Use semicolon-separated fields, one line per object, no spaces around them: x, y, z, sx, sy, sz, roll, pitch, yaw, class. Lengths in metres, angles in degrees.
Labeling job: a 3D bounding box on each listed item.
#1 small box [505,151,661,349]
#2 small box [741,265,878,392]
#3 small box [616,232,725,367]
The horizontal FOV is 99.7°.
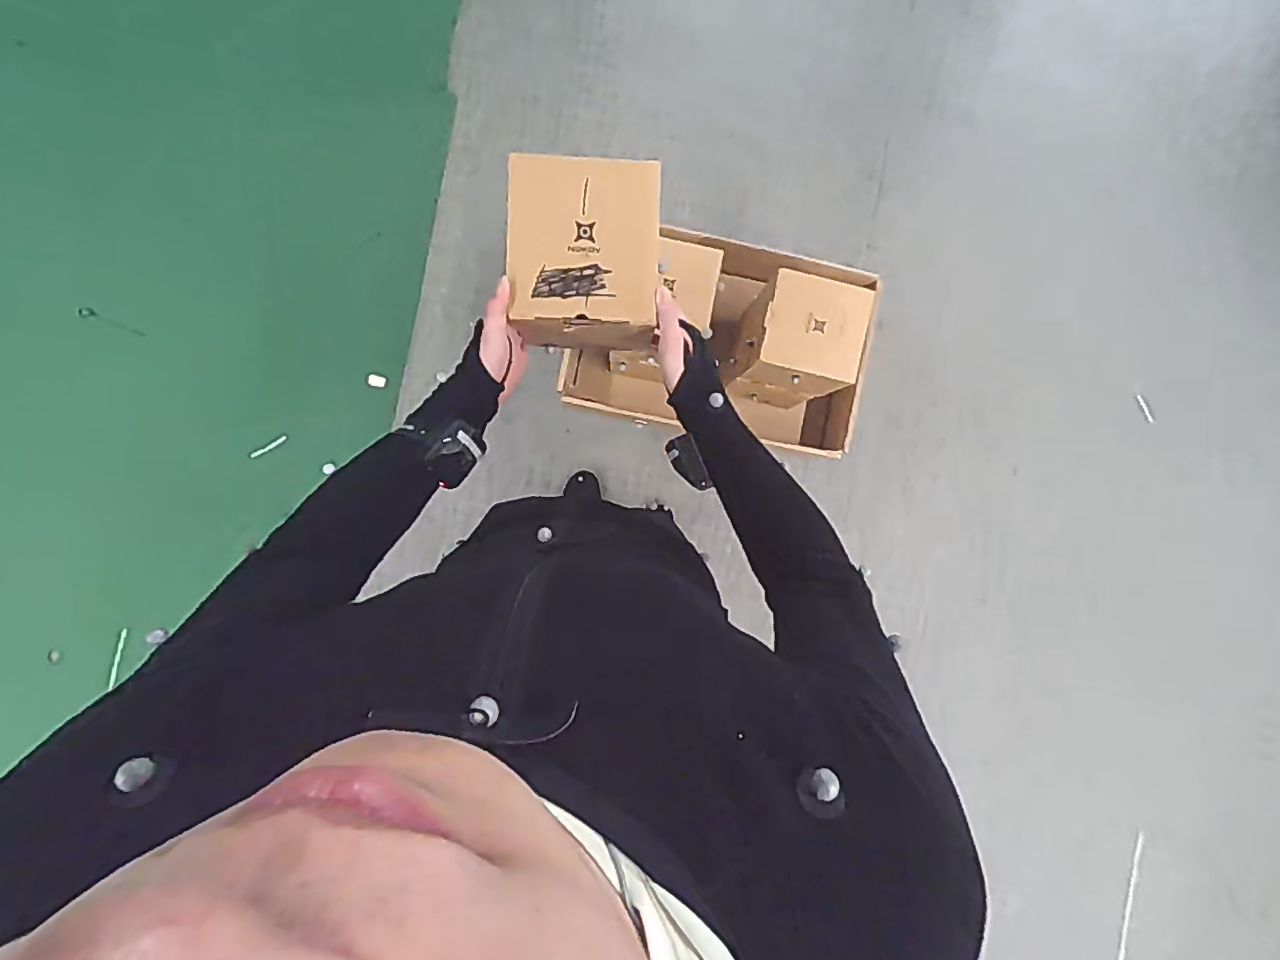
-0.065;-0.261;0.655;0.168;0.176;0.179;1;92;-4;small box
0.300;-0.268;0.998;0.179;0.176;0.168;13;91;-4;small box
0.044;-0.322;0.982;0.168;0.176;0.179;12;89;-2;small box
